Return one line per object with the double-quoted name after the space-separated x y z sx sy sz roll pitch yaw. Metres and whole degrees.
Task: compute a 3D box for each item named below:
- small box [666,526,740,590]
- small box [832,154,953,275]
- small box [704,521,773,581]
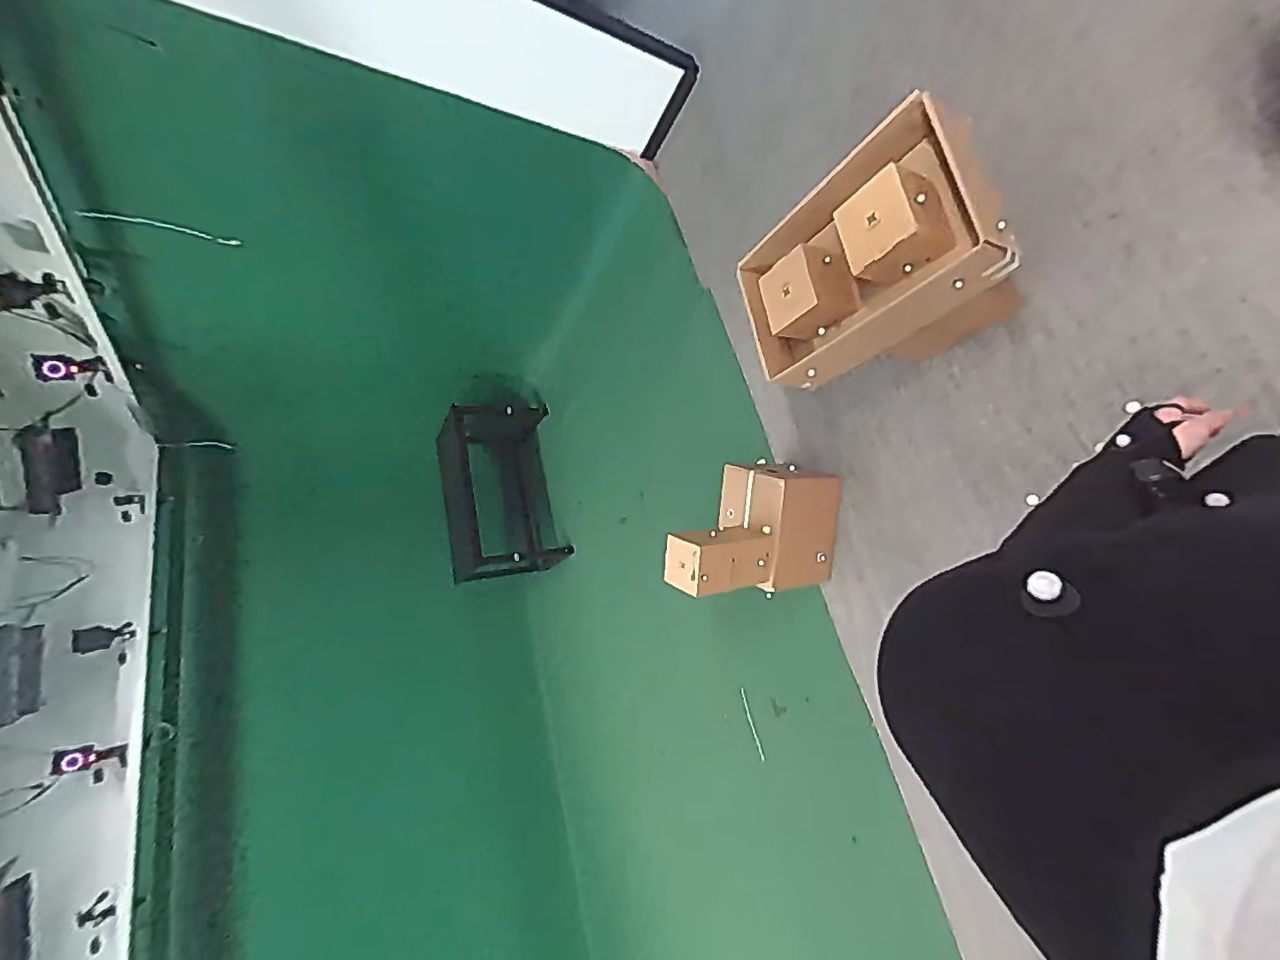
0.207 0.253 1.800 0.179 0.176 0.168 17 107 55 "small box"
0.583 -0.602 1.250 0.168 0.176 0.179 -30 69 54 "small box"
0.338 0.244 1.899 0.179 0.176 0.168 17 107 54 "small box"
